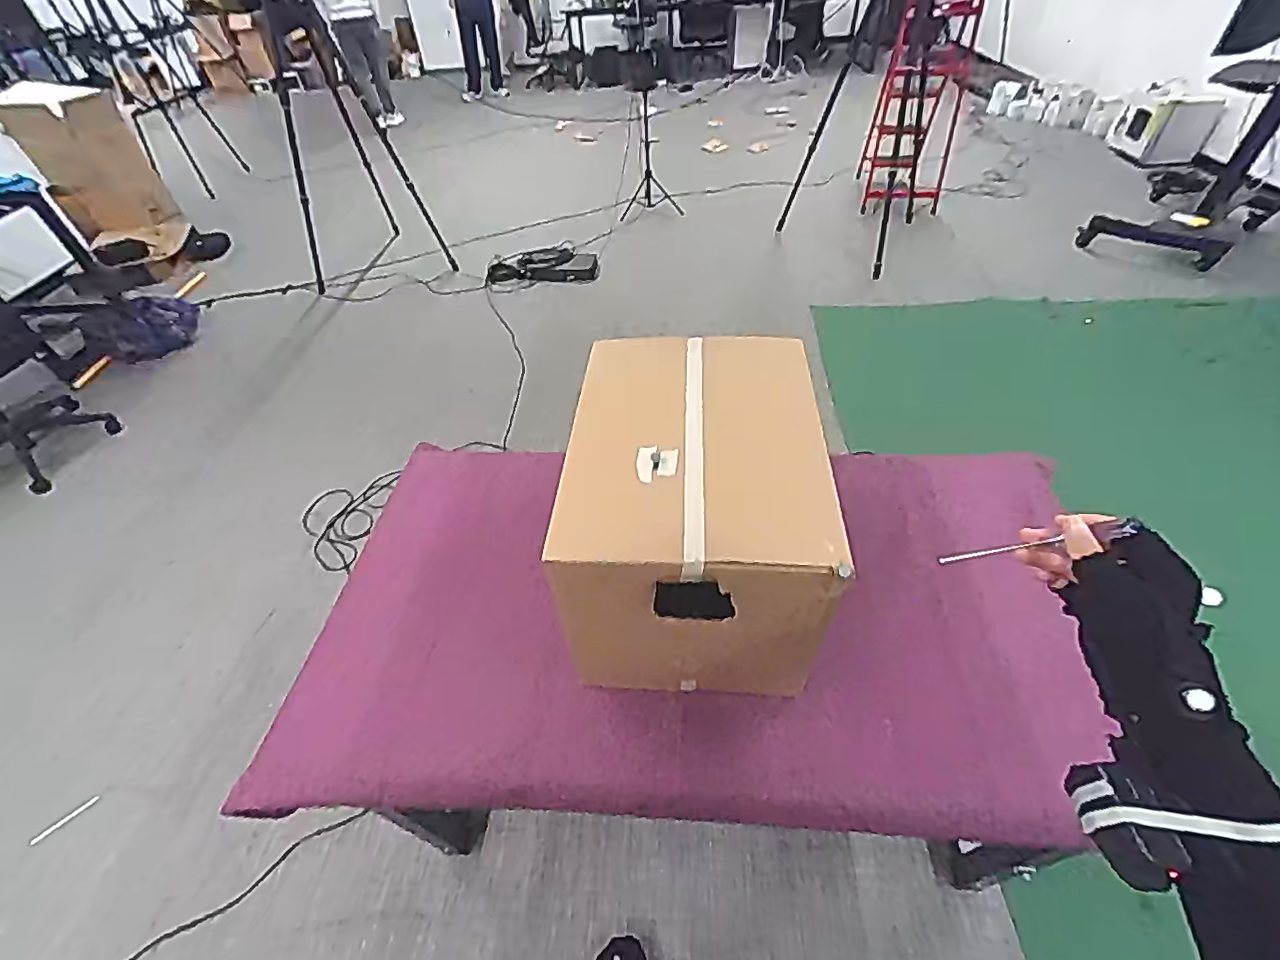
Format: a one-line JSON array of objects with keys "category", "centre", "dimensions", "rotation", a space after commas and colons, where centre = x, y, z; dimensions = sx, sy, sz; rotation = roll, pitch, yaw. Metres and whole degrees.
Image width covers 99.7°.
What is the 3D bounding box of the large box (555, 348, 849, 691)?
[{"category": "large box", "centre": [0.079, 0.049, 0.799], "dimensions": [0.320, 0.320, 0.408], "rotation": [1, 48, 5]}]
